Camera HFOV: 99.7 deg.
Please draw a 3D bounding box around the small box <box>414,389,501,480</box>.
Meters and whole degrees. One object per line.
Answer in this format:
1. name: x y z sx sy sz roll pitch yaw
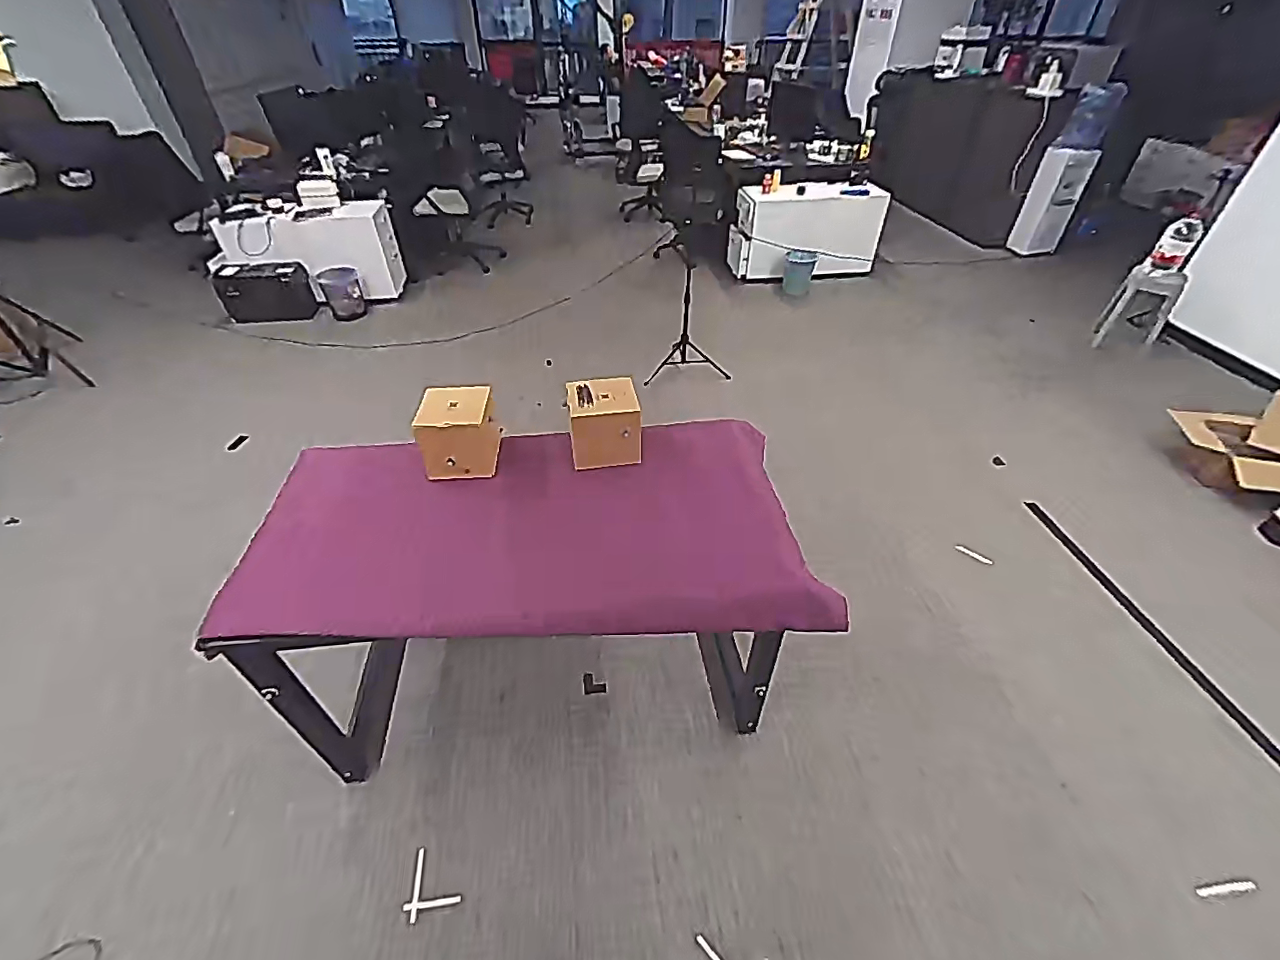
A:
1. small box: -0.461 -0.118 1.397 0.168 0.176 0.179 -3 41 -3
